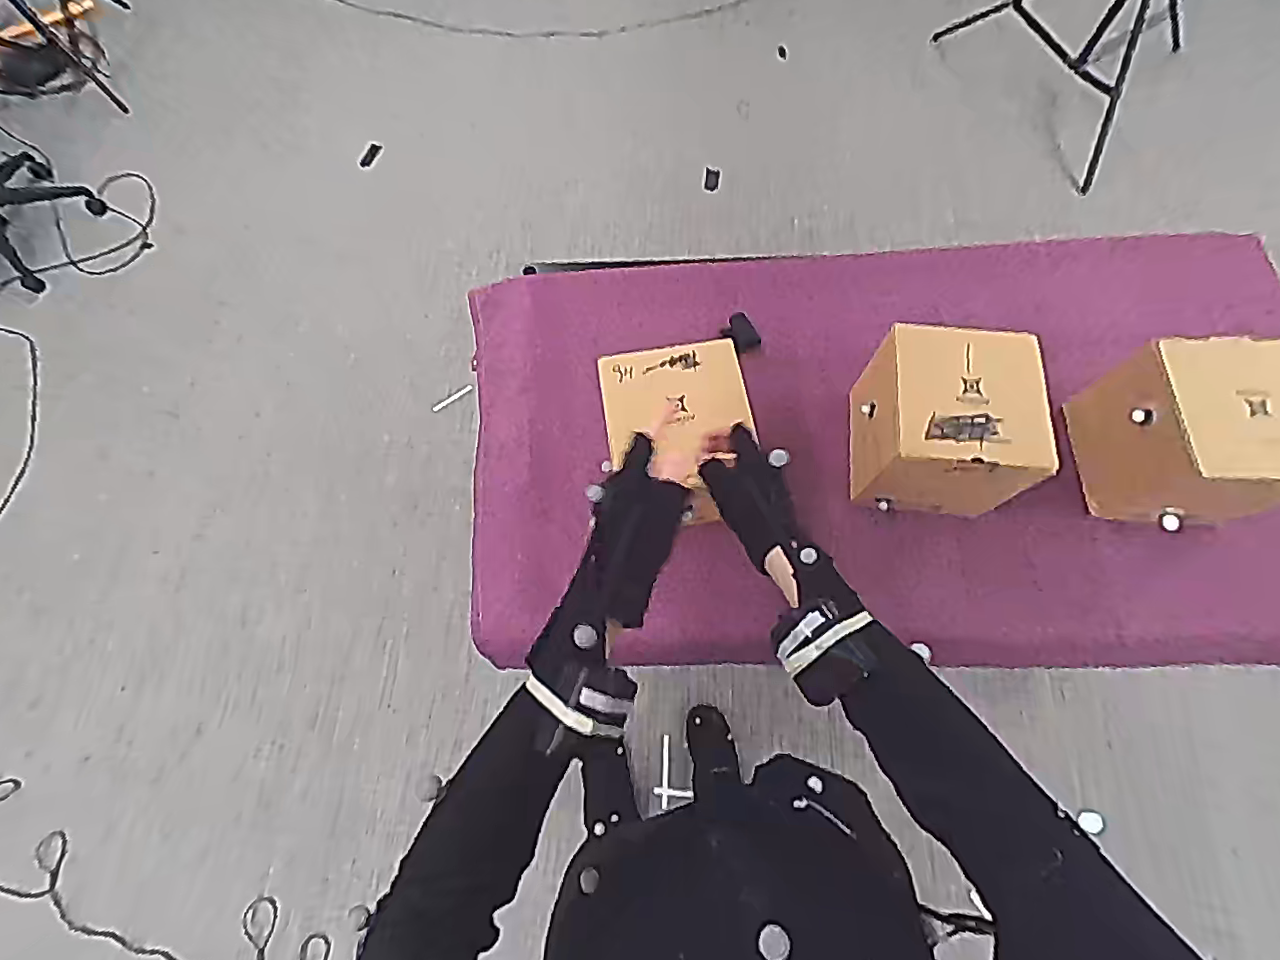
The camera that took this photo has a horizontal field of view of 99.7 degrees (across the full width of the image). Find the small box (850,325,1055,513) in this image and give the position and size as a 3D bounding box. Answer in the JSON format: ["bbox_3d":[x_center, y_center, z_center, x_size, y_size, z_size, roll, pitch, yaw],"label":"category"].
[{"bbox_3d":[0.376,-0.068,0.685,0.168,0.176,0.179,7,68,5],"label":"small box"}]

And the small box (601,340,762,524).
[{"bbox_3d":[0.047,-0.049,0.692,0.168,0.176,0.179,-8,69,-1],"label":"small box"}]

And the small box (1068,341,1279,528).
[{"bbox_3d":[0.678,-0.050,0.667,0.168,0.176,0.179,2,69,5],"label":"small box"}]
